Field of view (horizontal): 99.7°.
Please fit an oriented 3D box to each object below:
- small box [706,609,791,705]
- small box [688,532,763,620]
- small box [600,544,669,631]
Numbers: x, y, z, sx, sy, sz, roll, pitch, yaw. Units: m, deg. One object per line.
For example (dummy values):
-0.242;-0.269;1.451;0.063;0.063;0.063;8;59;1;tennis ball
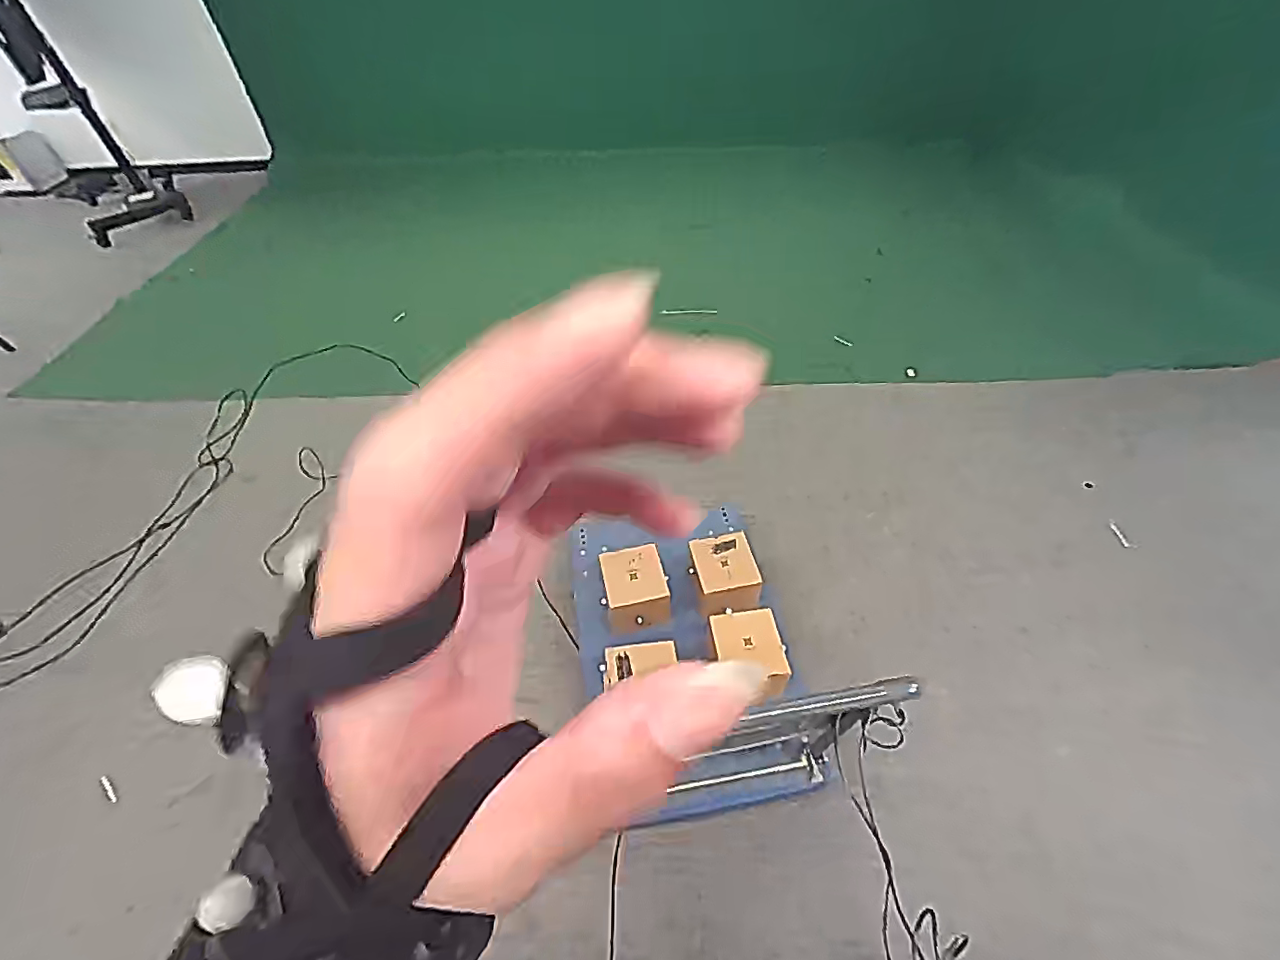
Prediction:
0.271;0.459;1.399;0.168;0.176;0.179;-7;50;-4;small box
0.238;0.278;1.556;0.168;0.176;0.179;-10;50;-5;small box
-0.016;0.312;1.537;0.168;0.176;0.179;-10;49;-7;small box
